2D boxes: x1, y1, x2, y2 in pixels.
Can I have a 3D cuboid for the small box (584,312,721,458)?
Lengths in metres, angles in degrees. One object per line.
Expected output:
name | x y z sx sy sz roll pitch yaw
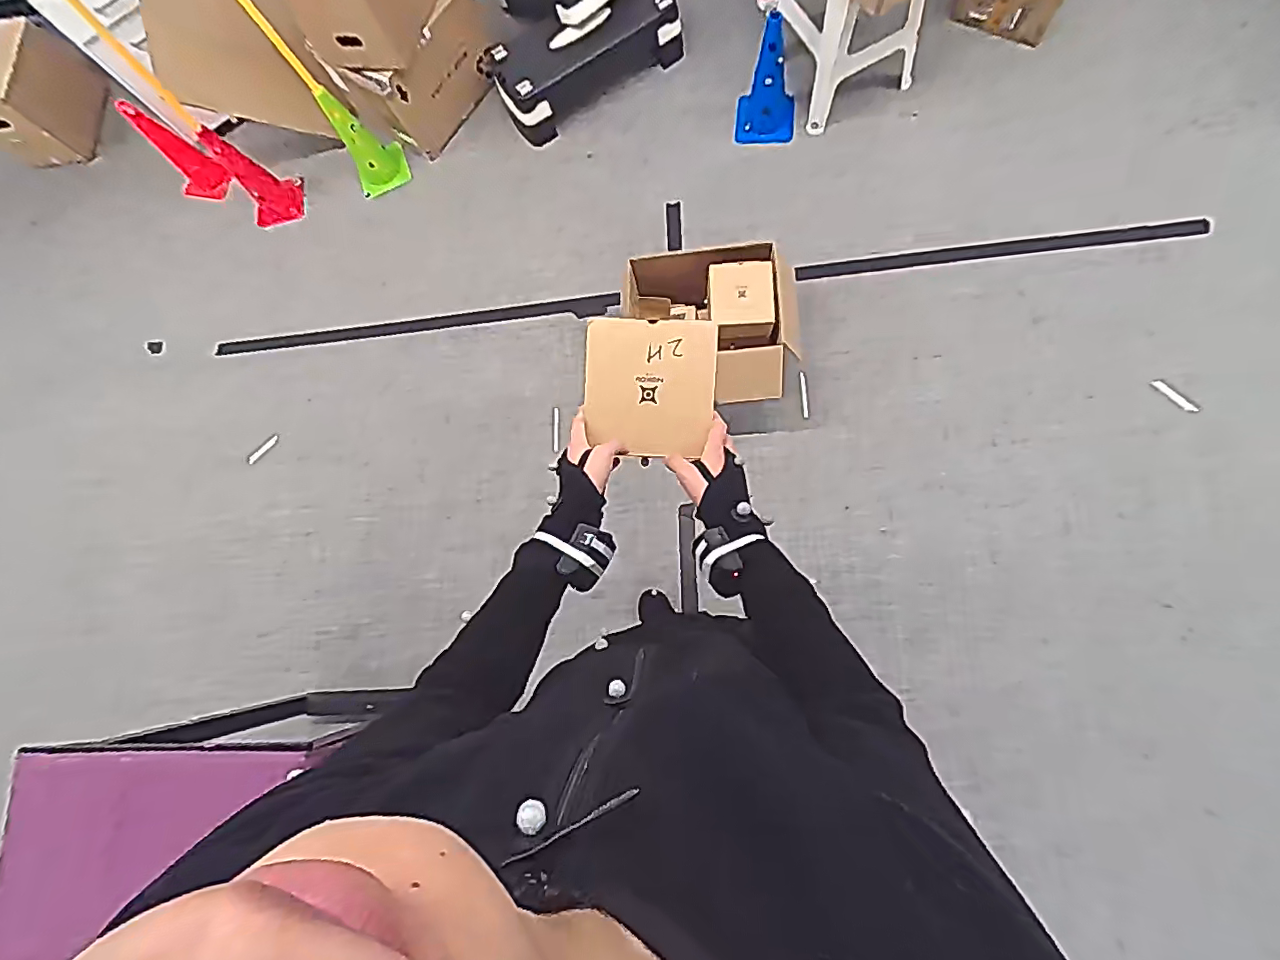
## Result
small box | 0.019 -0.126 0.760 0.168 0.176 0.179 4 93 3
